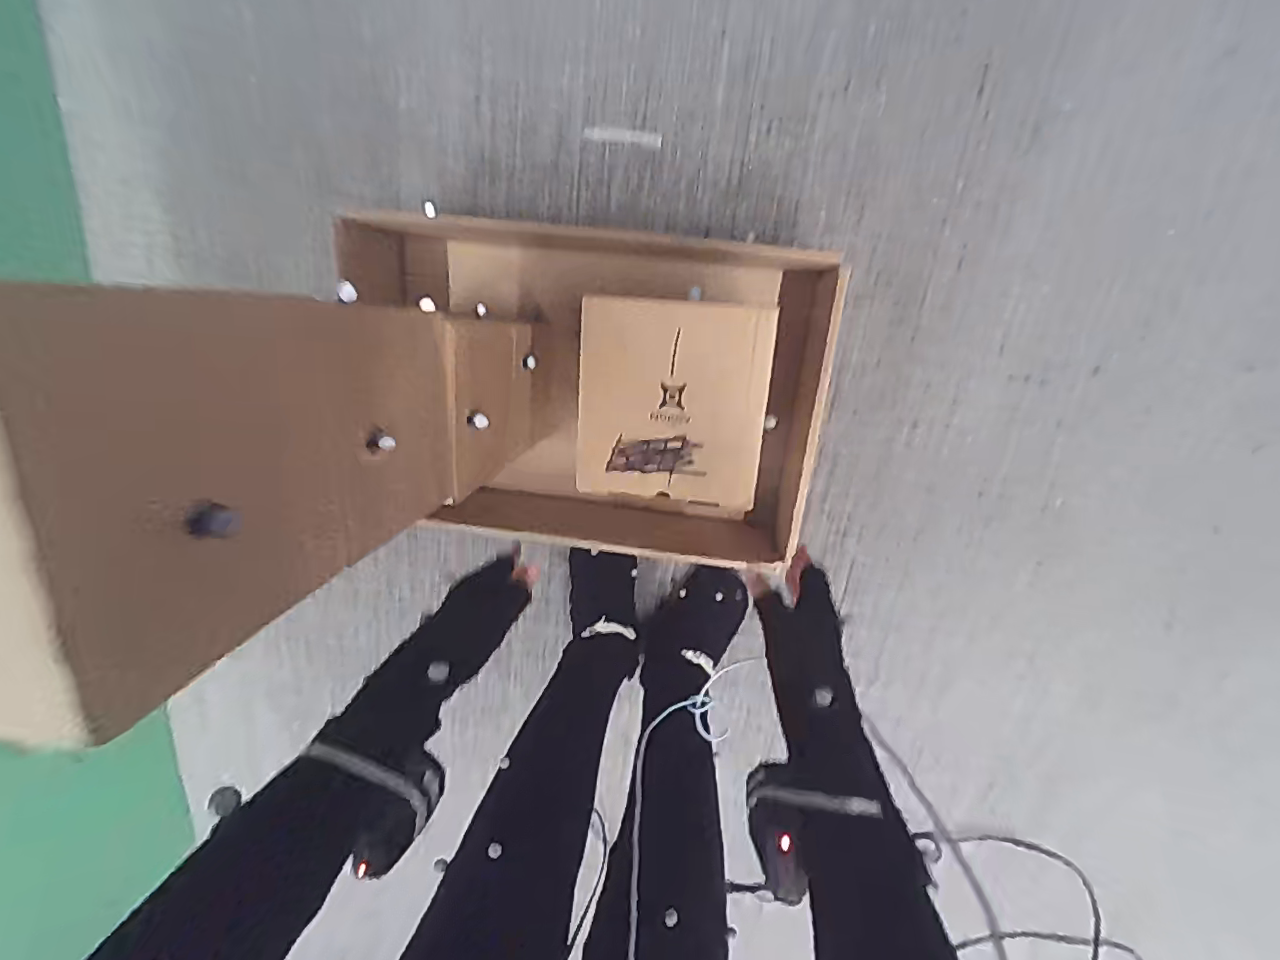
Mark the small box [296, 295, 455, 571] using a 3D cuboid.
[{"bbox_3d":[-0.258,-0.051,0.425,0.168,0.176,0.179,5,107,4],"label":"small box"}]

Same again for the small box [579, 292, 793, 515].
[{"bbox_3d":[0.043,-0.085,0.541,0.168,0.176,0.179,8,108,4],"label":"small box"}]

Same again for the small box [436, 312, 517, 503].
[{"bbox_3d":[-0.239,-0.092,0.583,0.168,0.176,0.179,7,108,4],"label":"small box"}]

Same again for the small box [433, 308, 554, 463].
[{"bbox_3d":[-0.220,-0.137,0.737,0.168,0.176,0.179,8,108,5],"label":"small box"}]

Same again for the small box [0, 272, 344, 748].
[{"bbox_3d":[-0.275,-0.007,0.269,0.168,0.176,0.179,5,108,3],"label":"small box"}]
